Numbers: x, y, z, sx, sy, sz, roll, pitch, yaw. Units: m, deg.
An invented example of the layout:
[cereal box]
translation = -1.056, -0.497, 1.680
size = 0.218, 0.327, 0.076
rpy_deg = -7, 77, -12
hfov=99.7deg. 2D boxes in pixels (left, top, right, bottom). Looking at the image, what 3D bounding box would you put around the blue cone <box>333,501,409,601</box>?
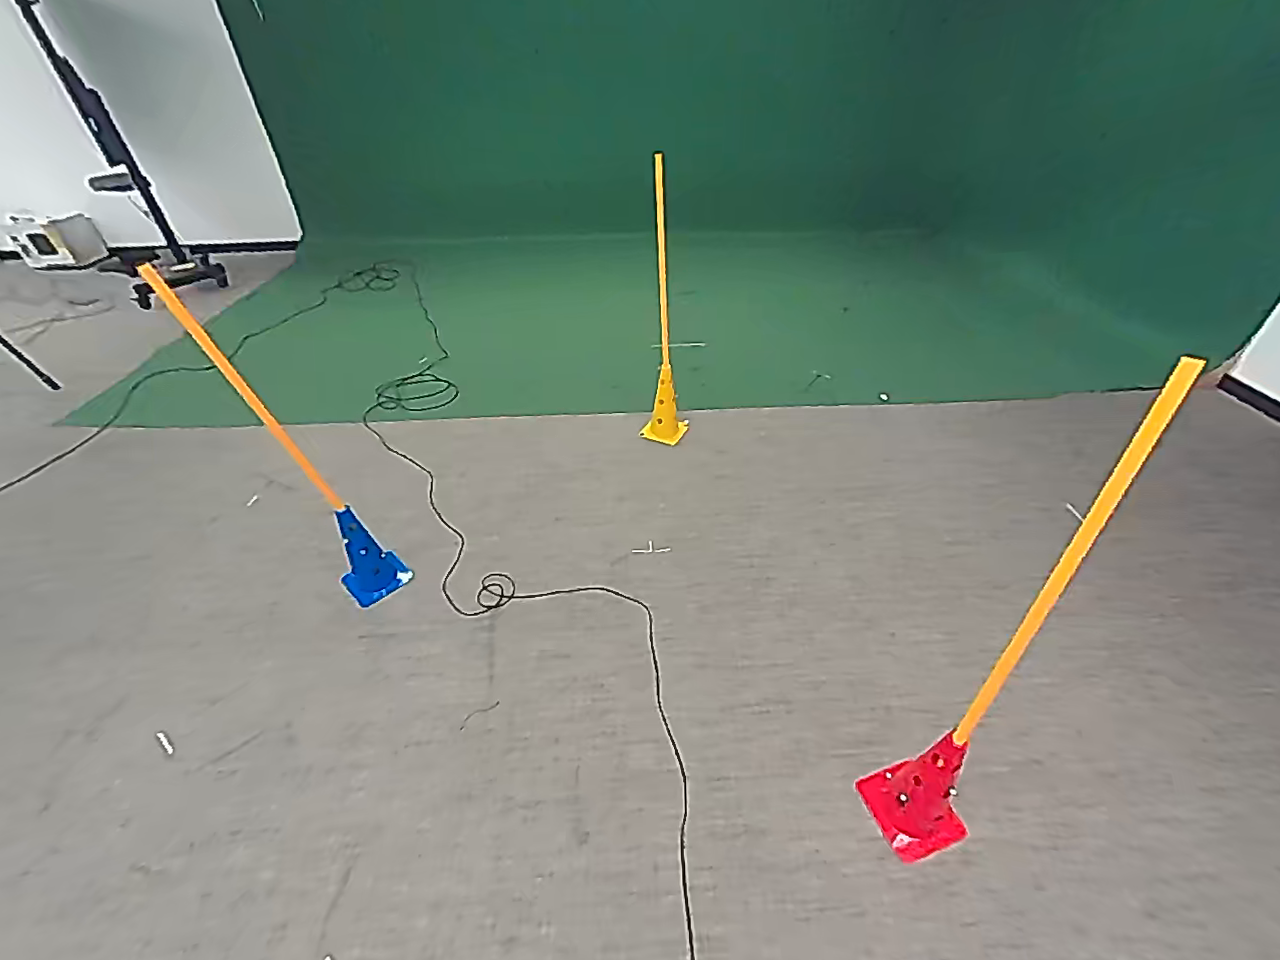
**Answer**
[blue cone]
translation = -0.965, 0.223, 1.867
size = 0.192, 0.380, 0.193
rpy_deg = 30, 51, 31
